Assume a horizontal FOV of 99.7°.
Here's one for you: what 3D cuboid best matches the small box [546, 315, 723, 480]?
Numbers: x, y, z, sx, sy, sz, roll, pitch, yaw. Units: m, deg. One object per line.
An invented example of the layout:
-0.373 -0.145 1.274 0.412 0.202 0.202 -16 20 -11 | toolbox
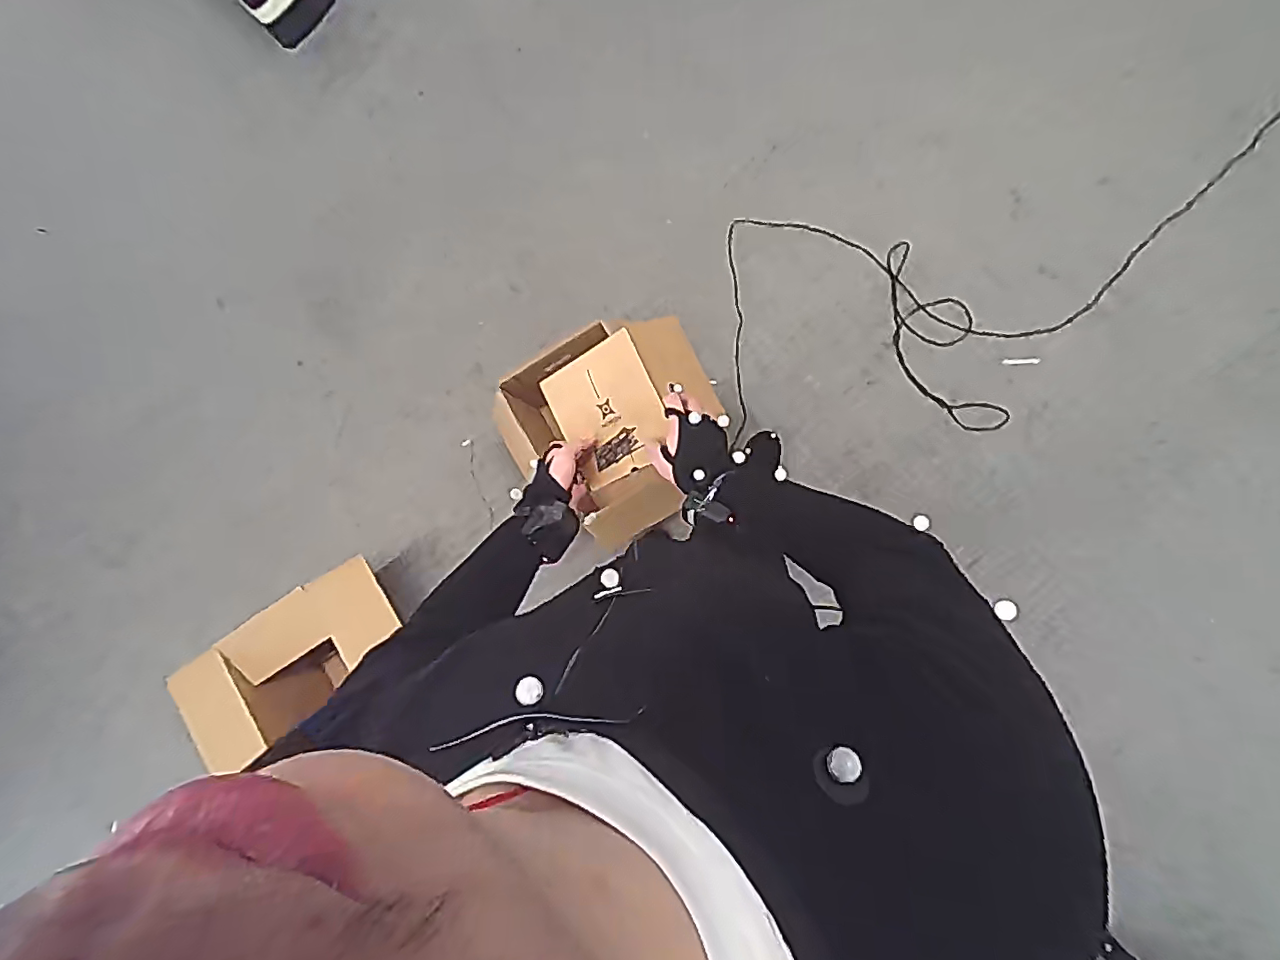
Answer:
0.001 -0.127 0.805 0.168 0.176 0.179 -22 99 33 | small box
